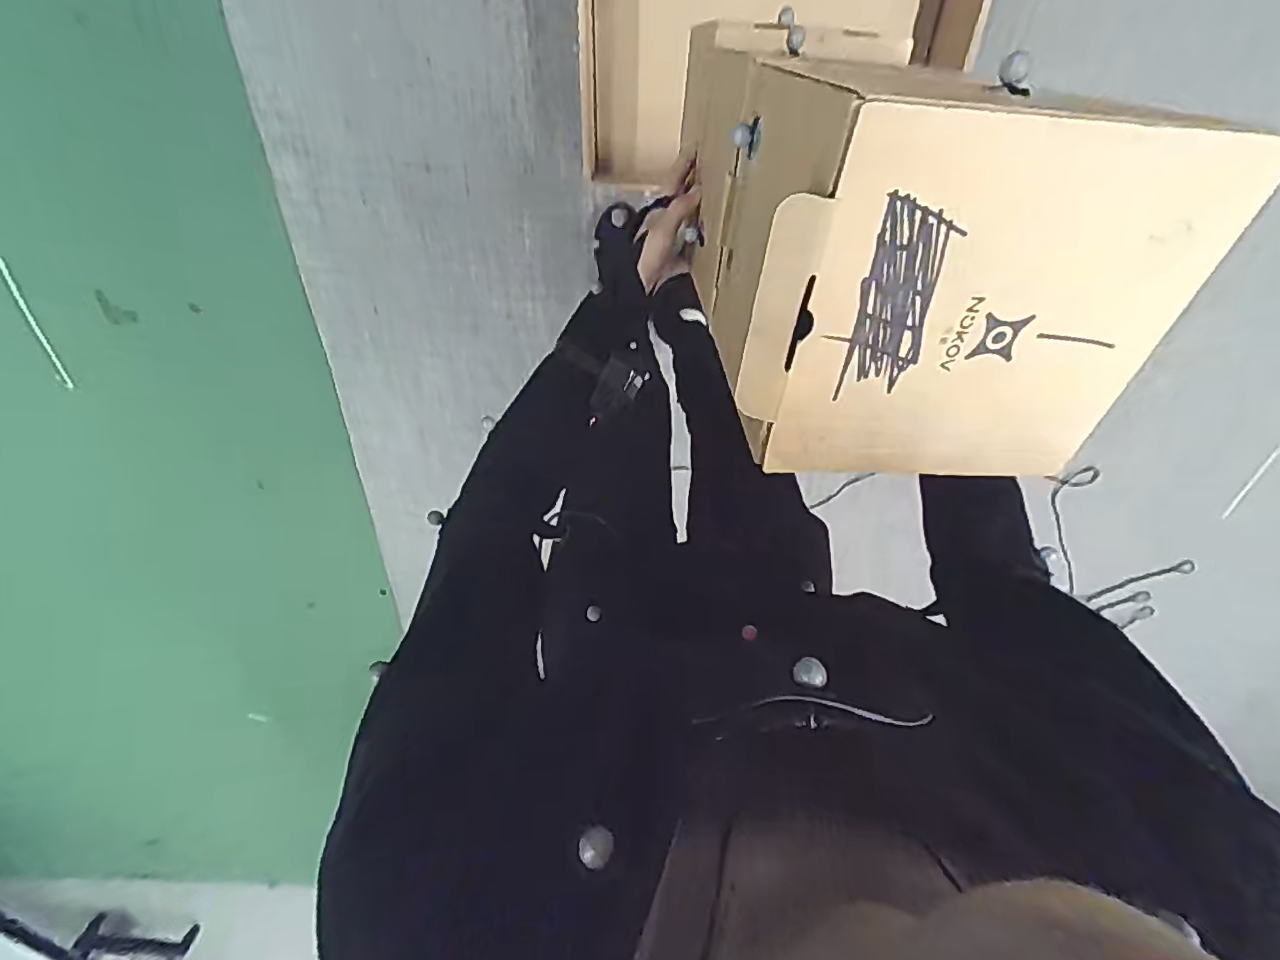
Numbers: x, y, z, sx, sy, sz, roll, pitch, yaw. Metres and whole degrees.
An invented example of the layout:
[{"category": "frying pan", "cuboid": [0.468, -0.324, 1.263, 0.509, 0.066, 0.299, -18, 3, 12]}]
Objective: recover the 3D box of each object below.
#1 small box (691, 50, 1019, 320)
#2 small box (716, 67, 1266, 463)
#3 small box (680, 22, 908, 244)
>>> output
[{"category": "small box", "cuboid": [0.139, -0.234, 0.435, 0.179, 0.176, 0.168, 2, 131, -3]}, {"category": "small box", "cuboid": [0.147, -0.127, 0.313, 0.179, 0.176, 0.168, 1, 131, -3]}, {"category": "small box", "cuboid": [0.134, -0.348, 0.554, 0.168, 0.176, 0.179, 1, 128, -3]}]
